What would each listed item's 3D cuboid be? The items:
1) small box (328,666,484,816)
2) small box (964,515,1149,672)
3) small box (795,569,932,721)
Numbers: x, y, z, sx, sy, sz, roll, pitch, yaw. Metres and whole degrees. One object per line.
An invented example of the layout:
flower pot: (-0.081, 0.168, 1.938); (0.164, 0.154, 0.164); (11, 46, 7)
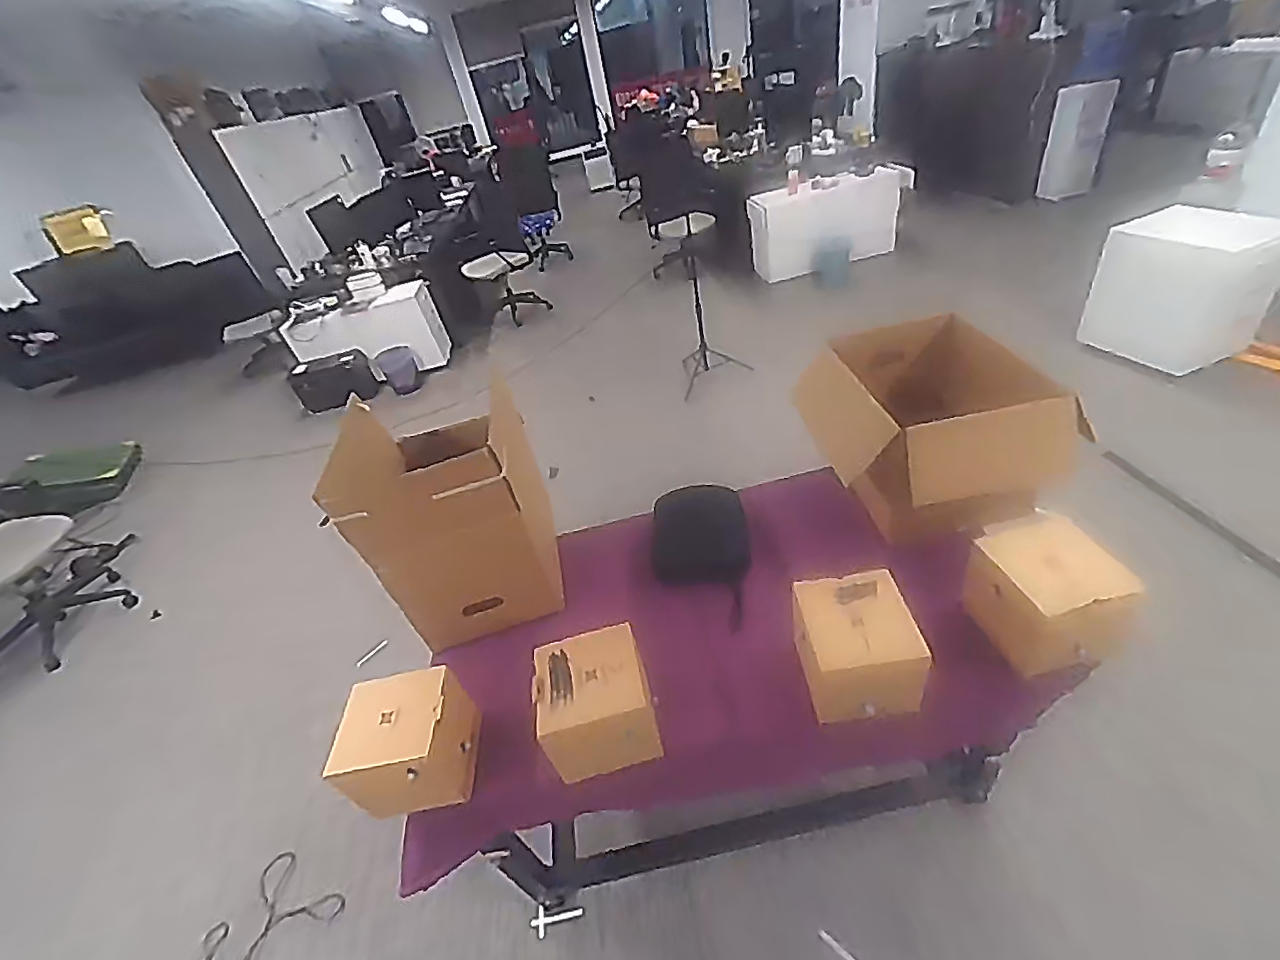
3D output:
small box: (-0.397, 0.461, 0.950); (0.179, 0.176, 0.168); (-12, 38, 1)
small box: (0.687, 0.192, 0.922); (0.168, 0.176, 0.179); (-16, 38, 1)
small box: (0.366, 0.280, 0.923); (0.168, 0.176, 0.179); (-10, 39, 6)
